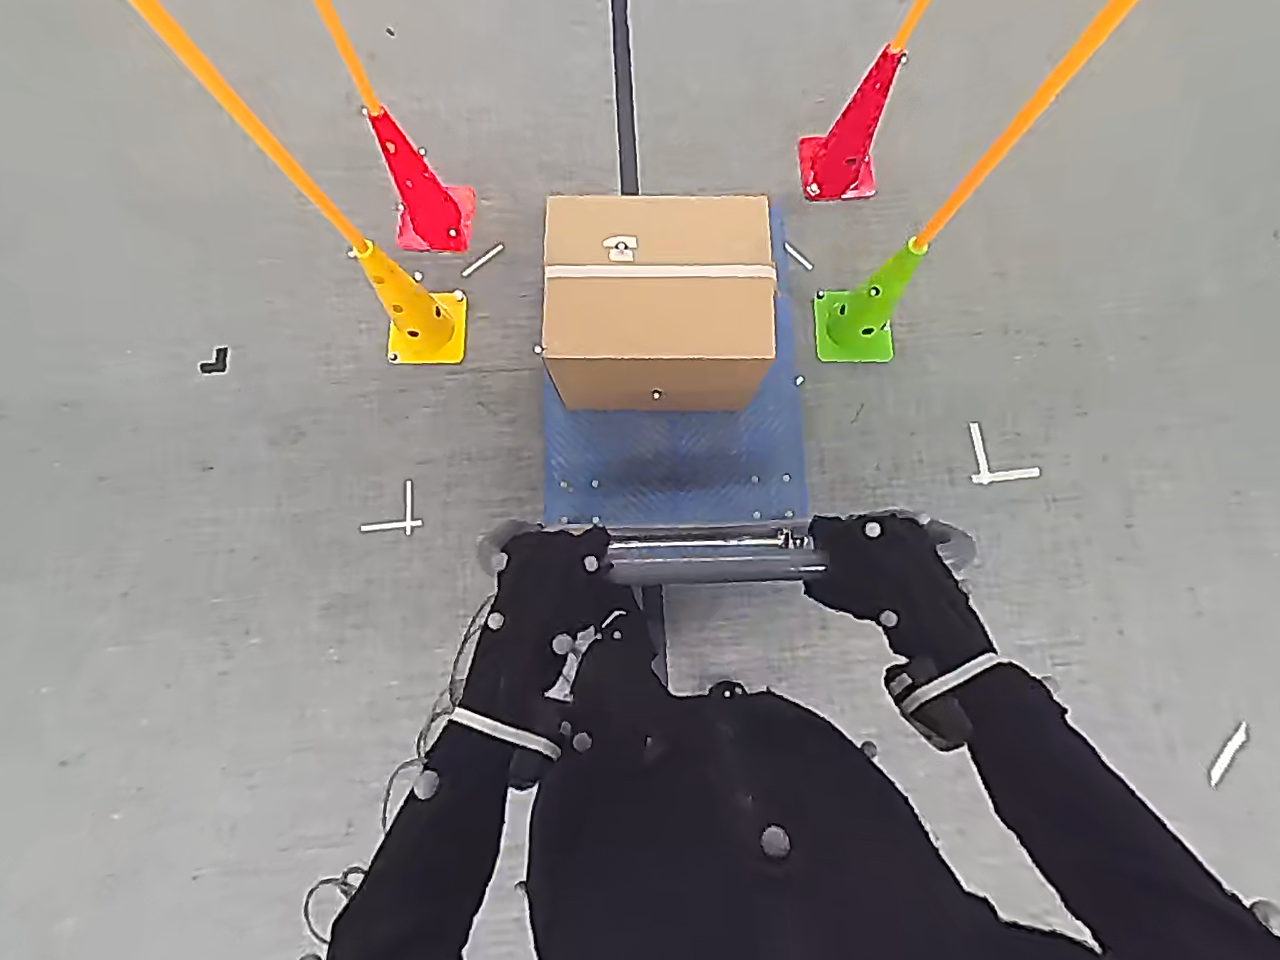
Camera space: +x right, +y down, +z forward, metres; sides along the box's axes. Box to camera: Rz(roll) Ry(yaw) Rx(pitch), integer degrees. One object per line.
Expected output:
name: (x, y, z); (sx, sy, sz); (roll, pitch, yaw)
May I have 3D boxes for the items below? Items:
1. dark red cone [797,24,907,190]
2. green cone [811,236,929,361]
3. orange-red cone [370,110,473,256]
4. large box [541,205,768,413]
dark red cone: (0.550, -0.925, 1.349); (0.201, 0.394, 0.202); (-4, 80, -2)
green cone: (0.563, -0.445, 1.278); (0.202, 0.368, 0.200); (0, 79, -1)
orange-red cone: (-0.572, -0.757, 1.345); (0.198, 0.360, 0.199); (4, 78, 0)
large box: (0.027, -0.326, 1.114); (0.408, 0.320, 0.320); (0, 80, 1)
